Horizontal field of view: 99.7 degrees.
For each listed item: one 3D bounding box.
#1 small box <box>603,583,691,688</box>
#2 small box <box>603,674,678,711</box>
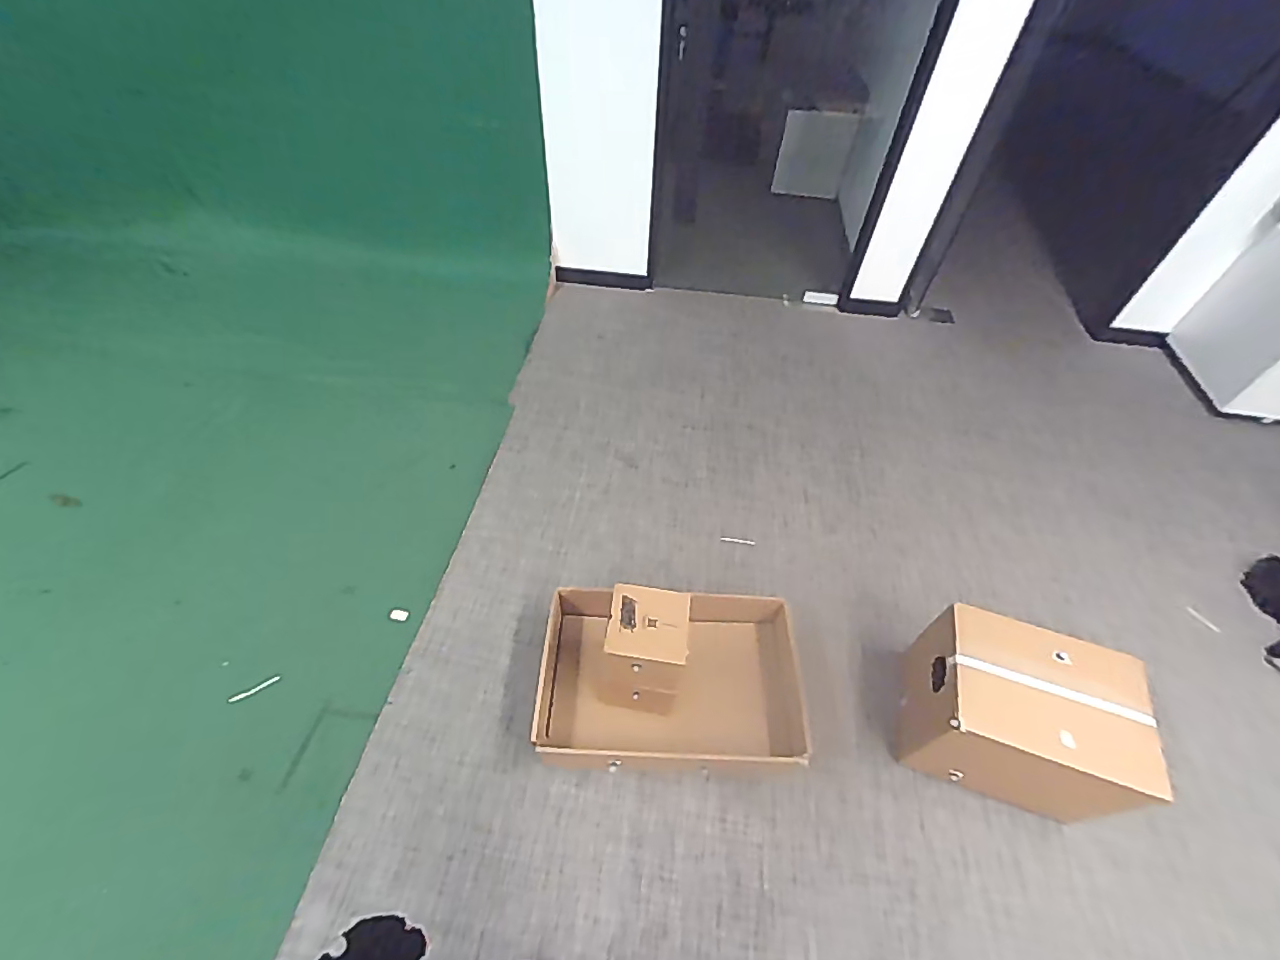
[{"bbox_3d":[0.014,0.357,1.232,0.179,0.176,0.168,9,51,1],"label":"small box"},{"bbox_3d":[0.006,0.463,1.358,0.179,0.176,0.168,10,51,1],"label":"small box"}]
